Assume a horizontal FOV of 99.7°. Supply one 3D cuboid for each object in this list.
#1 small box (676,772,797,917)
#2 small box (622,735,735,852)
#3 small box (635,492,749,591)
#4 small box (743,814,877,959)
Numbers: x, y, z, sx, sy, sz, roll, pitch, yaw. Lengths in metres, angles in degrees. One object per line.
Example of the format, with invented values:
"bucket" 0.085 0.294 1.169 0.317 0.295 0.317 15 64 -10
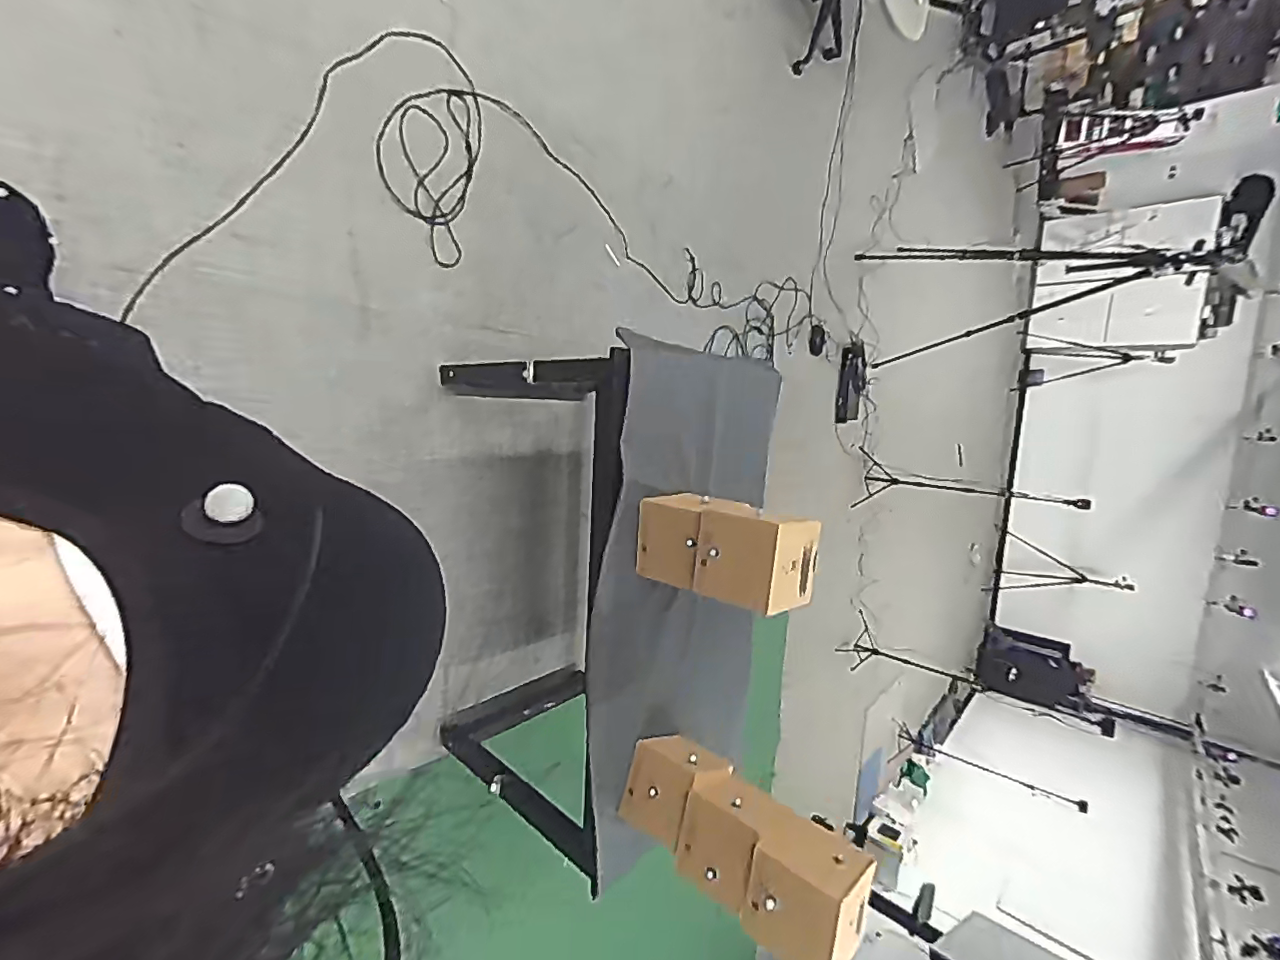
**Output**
"small box" 0.199 0.739 1.119 0.179 0.176 0.168 17 85 -50
"small box" 0.086 0.700 1.231 0.179 0.176 0.168 25 79 -49
"small box" 0.112 0.122 1.162 0.179 0.176 0.168 -6 101 -48
"small box" 0.316 0.767 1.007 0.179 0.176 0.168 8 91 -49
